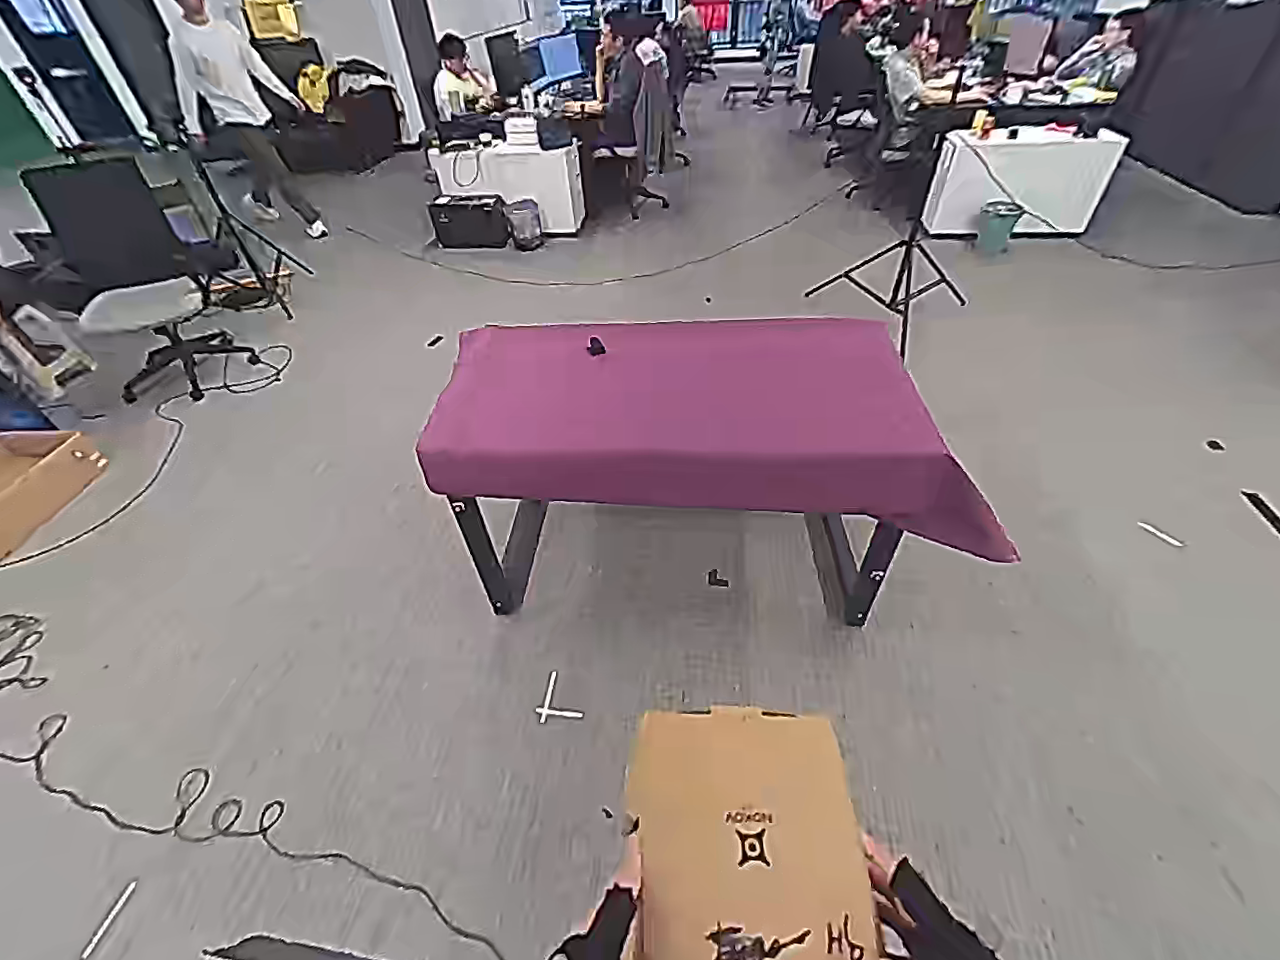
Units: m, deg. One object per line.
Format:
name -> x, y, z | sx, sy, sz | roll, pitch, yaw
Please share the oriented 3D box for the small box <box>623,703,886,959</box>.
small box -> 0.073, 0.311, 0.463 | 0.168, 0.176, 0.179 | 3, 48, -5
